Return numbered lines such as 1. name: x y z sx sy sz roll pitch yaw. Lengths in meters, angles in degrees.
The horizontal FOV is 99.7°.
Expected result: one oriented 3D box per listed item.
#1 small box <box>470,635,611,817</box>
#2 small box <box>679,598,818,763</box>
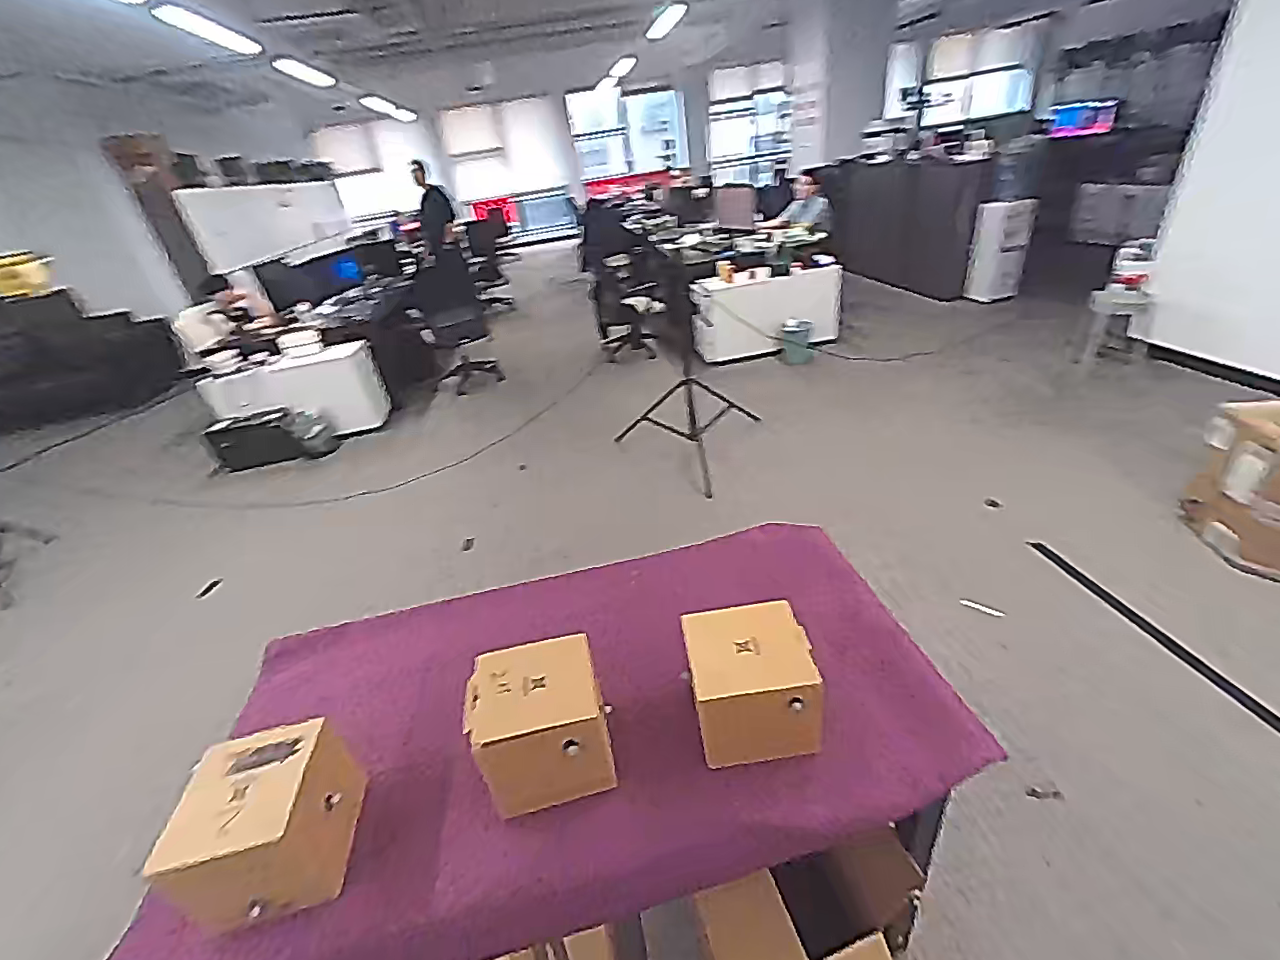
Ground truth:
1. small box: -0.146 0.374 0.831 0.179 0.176 0.168 -13 29 -7
2. small box: 0.166 0.314 0.847 0.179 0.176 0.168 -9 31 -1
